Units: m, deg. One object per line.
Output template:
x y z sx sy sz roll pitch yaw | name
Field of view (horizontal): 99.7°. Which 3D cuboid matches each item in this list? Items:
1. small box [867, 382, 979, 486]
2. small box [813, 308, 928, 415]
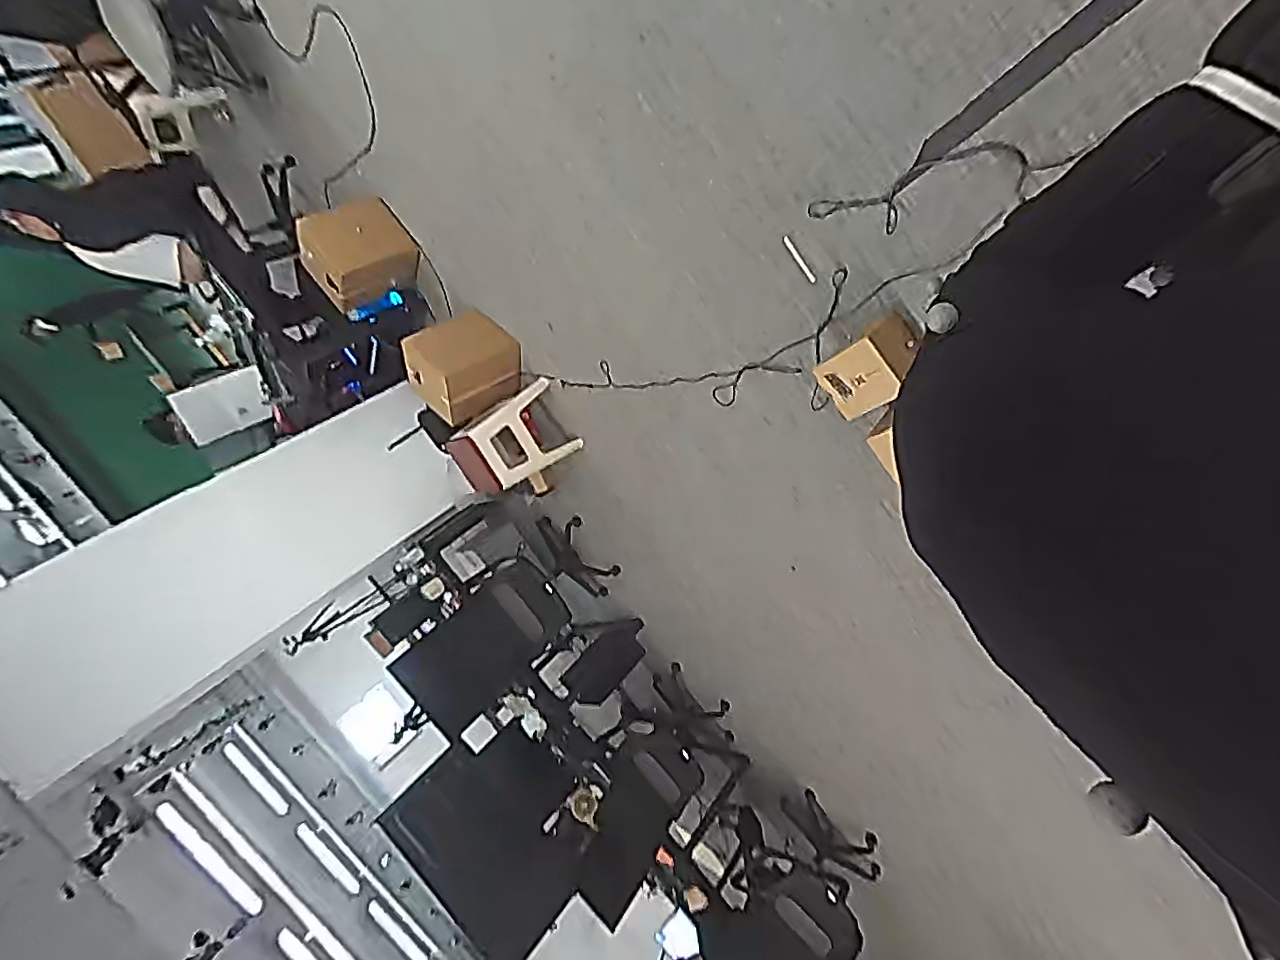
0.723 -0.115 1.375 0.179 0.176 0.168 51 147 -7 | small box
0.580 -0.296 1.357 0.168 0.176 0.179 51 146 -5 | small box
